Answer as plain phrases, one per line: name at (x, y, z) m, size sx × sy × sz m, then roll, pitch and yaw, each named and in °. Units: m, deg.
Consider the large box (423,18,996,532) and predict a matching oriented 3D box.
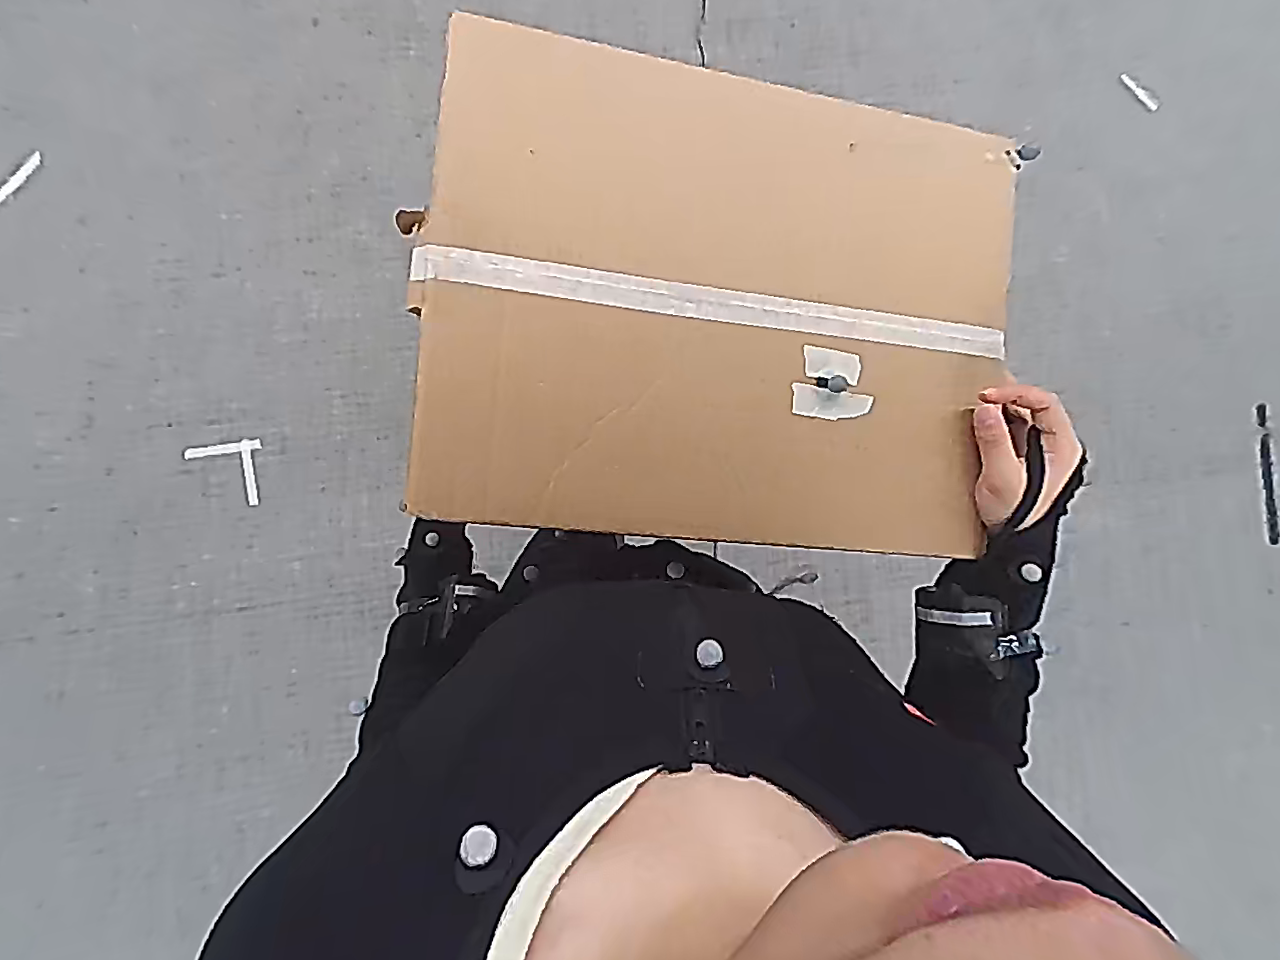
large box at (0.038, -0.126, 0.518) m, size 0.408 × 0.320 × 0.320 m, roll 5°, pitch 90°, yaw -11°
